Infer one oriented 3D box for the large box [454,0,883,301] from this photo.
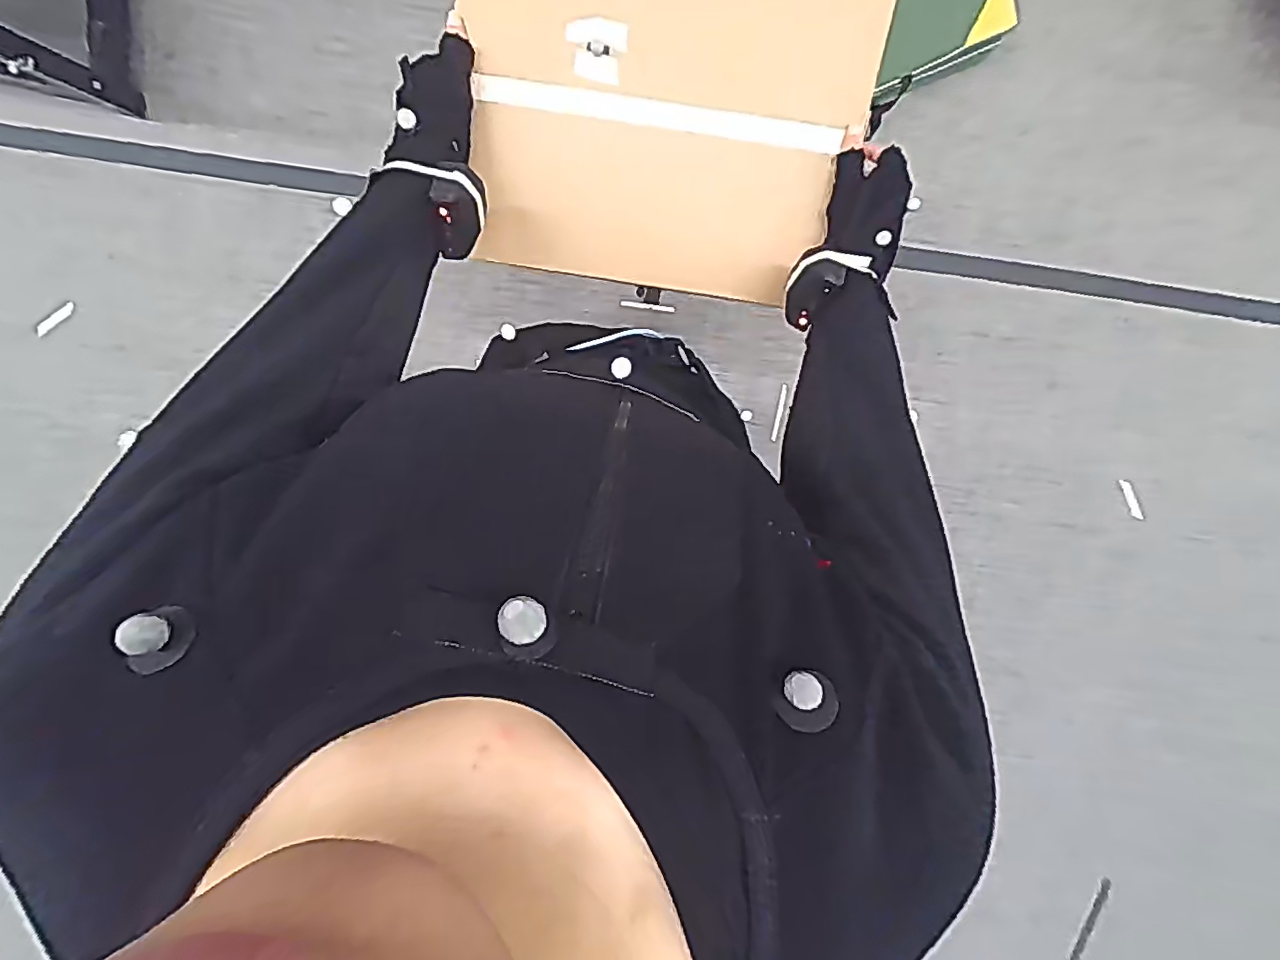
[{"bbox_3d":[0.023,-0.418,0.678,0.408,0.320,0.320,9,110,0],"label":"large box"}]
